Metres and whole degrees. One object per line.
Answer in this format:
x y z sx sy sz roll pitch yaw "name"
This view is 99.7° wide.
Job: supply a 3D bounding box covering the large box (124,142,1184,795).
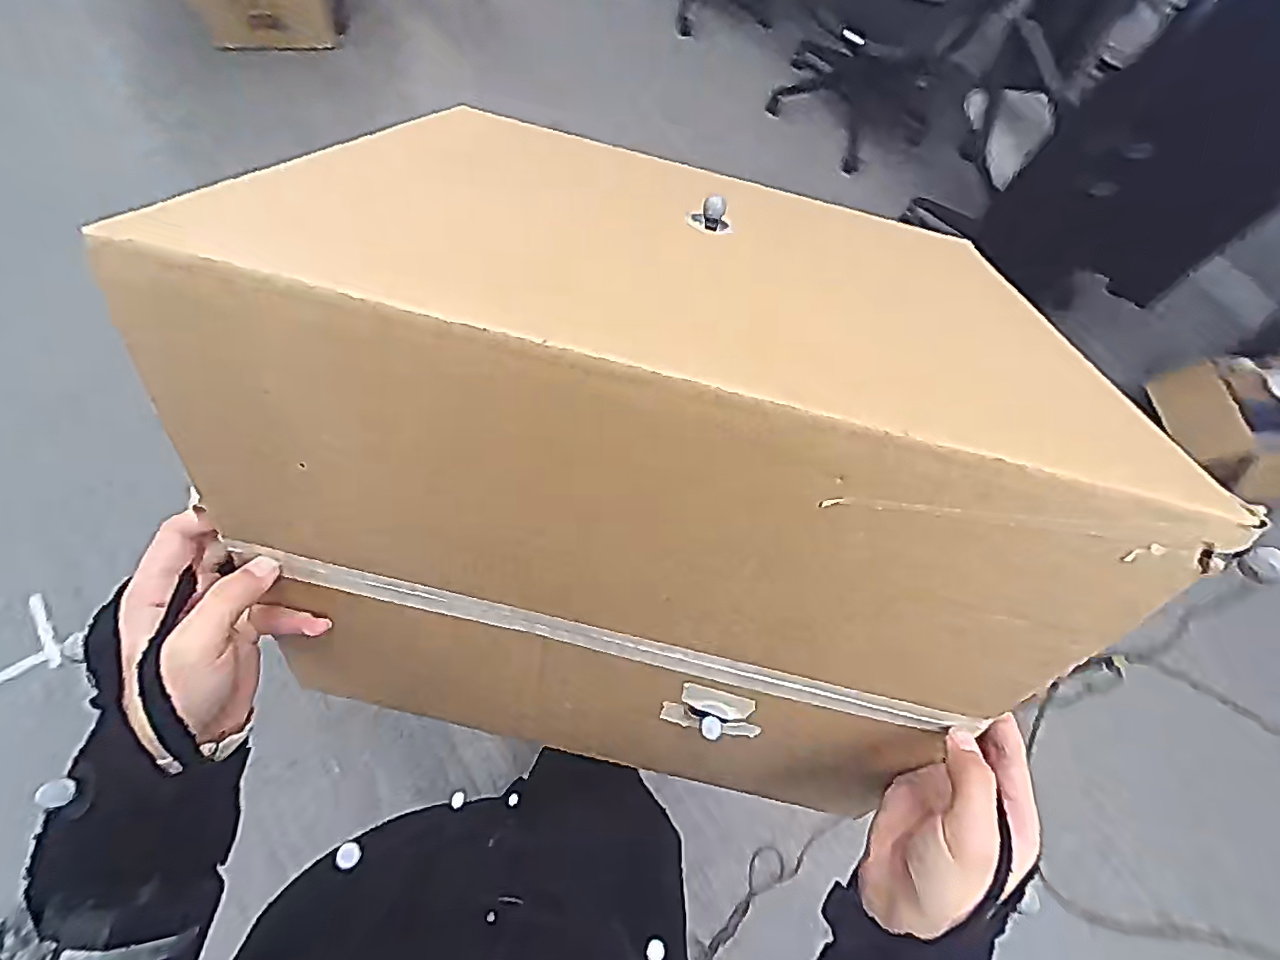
-0.001 -0.018 0.404 0.408 0.320 0.320 12 42 -2 "large box"
